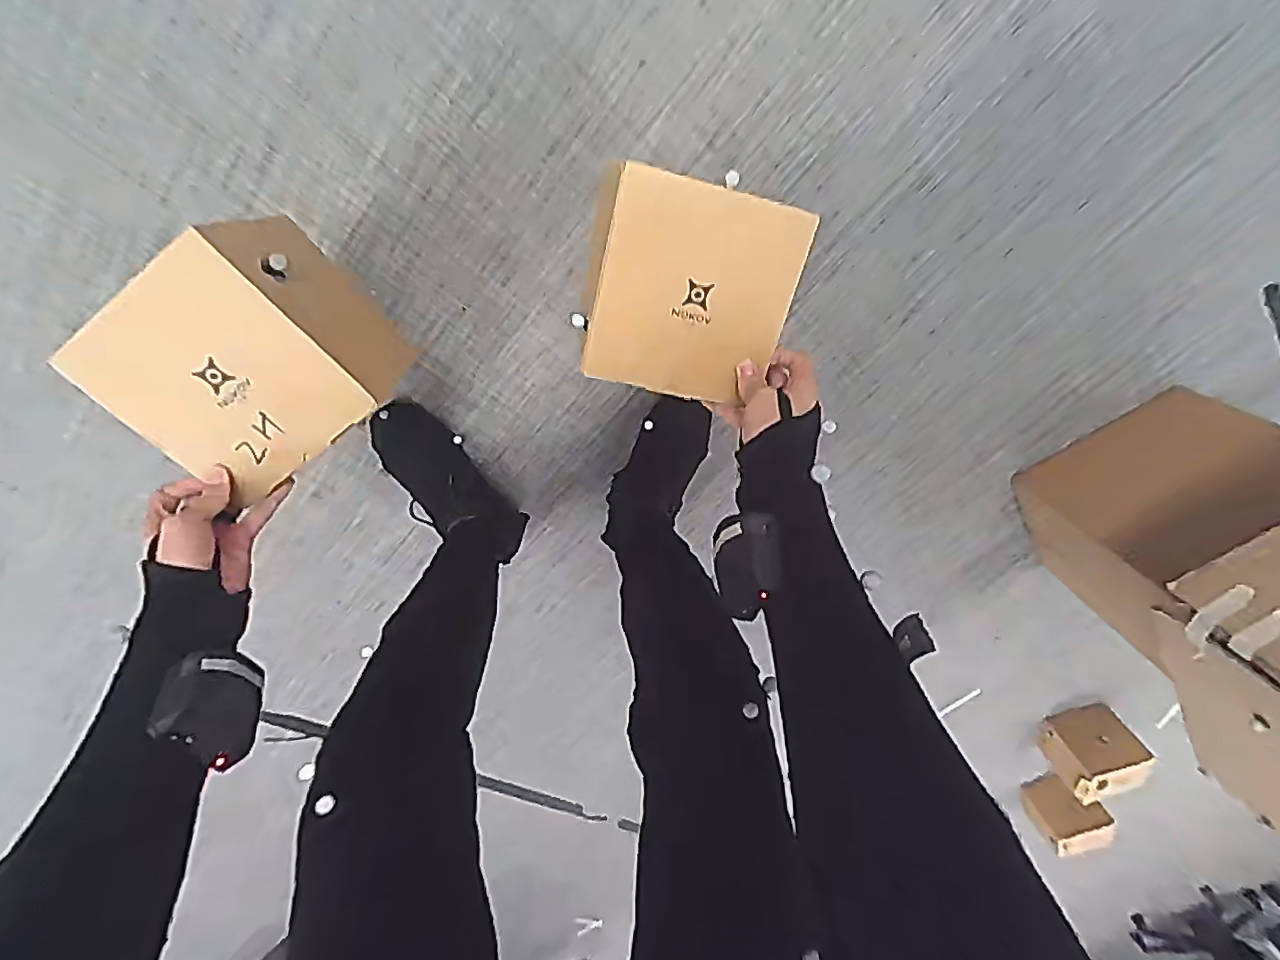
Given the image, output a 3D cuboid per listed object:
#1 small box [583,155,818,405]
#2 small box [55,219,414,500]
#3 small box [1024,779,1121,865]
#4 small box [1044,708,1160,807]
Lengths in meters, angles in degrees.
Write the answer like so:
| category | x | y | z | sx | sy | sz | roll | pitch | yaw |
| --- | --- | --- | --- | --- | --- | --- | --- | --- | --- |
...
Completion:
| category | x | y | z | sx | sy | sz | roll | pitch | yaw |
| --- | --- | --- | --- | --- | --- | --- | --- | --- | --- |
| small box | 0.039 | -0.198 | 0.529 | 0.168 | 0.176 | 0.179 | 9 | 119 | -12 |
| small box | -0.349 | -0.120 | 0.511 | 0.168 | 0.176 | 0.179 | -34 | 118 | 9 |
| small box | 1.381 | 1.089 | 1.735 | 0.179 | 0.176 | 0.168 | -24 | 123 | 6 |
| small box | 1.281 | 0.774 | 1.516 | 0.179 | 0.176 | 0.168 | -18 | 124 | 3 |
